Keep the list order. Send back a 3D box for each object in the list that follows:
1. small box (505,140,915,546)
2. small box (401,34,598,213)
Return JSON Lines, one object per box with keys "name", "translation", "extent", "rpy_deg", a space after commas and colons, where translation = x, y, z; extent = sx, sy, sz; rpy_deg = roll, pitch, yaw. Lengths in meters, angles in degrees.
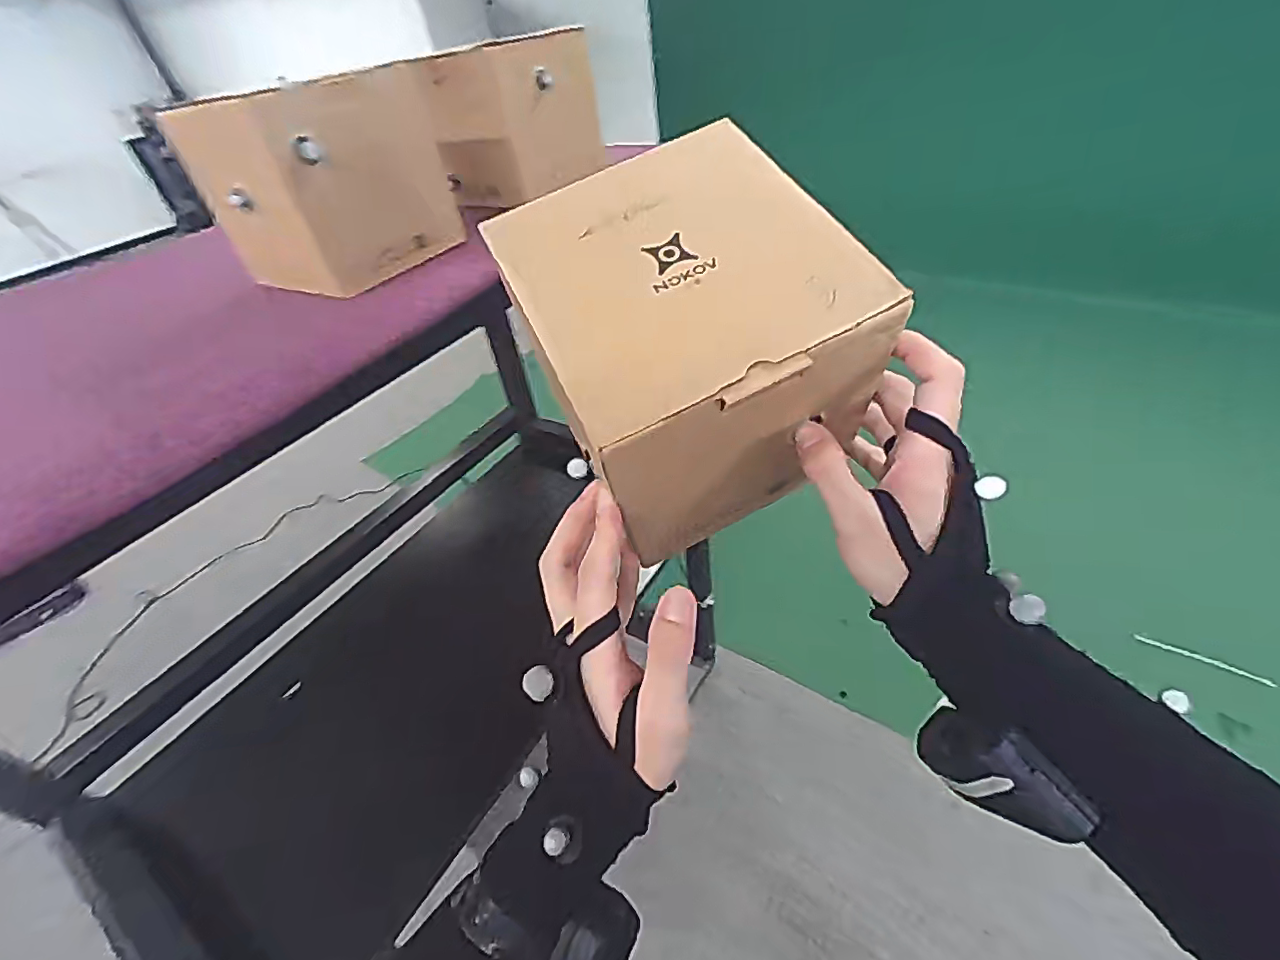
{"name": "small box", "translation": [0.037, -0.074, 0.362], "extent": [0.168, 0.176, 0.179], "rpy_deg": [-26, 62, -6]}
{"name": "small box", "translation": [-0.175, -0.477, 0.735], "extent": [0.168, 0.176, 0.179], "rpy_deg": [18, 48, 29]}
